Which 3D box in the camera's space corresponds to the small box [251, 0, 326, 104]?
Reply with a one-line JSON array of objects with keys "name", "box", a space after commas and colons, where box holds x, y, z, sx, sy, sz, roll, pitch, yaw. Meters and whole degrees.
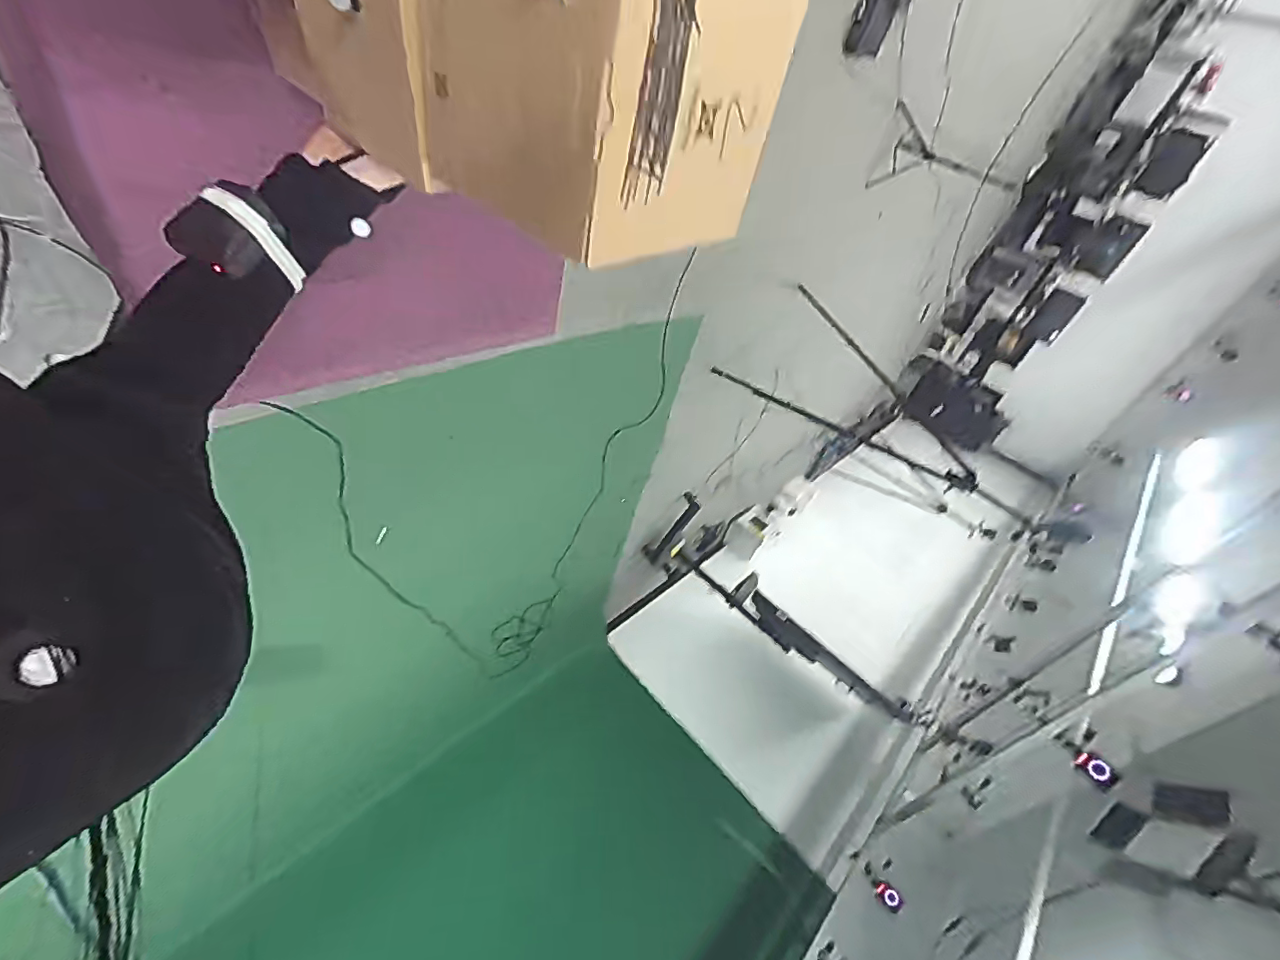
[{"name": "small box", "box": [-0.246, -0.463, 0.499, 0.179, 0.176, 0.168, -34, 151, -28]}]

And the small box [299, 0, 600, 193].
[{"name": "small box", "box": [-0.149, -0.355, 0.420, 0.168, 0.176, 0.179, -31, 150, -32]}]
